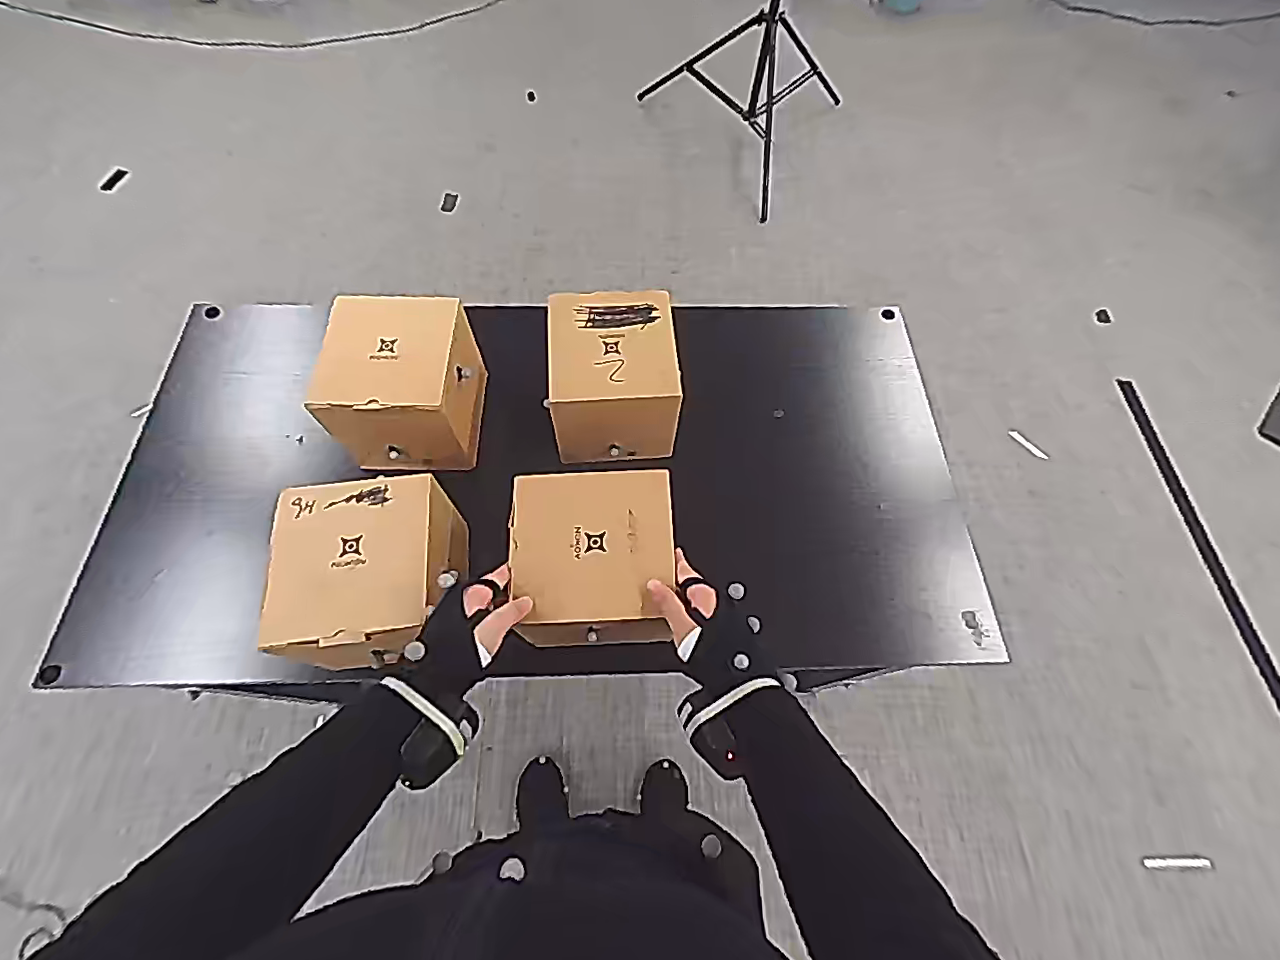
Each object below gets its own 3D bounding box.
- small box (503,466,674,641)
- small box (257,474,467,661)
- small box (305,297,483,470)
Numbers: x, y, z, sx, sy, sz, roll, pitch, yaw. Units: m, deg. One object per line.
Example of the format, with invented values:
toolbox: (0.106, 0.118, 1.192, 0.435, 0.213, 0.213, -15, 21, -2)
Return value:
small box: (-0.053, 0.095, 0.647, 0.179, 0.176, 0.168, -3, 66, -1)
small box: (-0.309, 0.112, 0.642, 0.168, 0.176, 0.179, -7, 65, -5)
small box: (-0.327, -0.131, 0.761, 0.168, 0.176, 0.179, 0, 65, -2)
